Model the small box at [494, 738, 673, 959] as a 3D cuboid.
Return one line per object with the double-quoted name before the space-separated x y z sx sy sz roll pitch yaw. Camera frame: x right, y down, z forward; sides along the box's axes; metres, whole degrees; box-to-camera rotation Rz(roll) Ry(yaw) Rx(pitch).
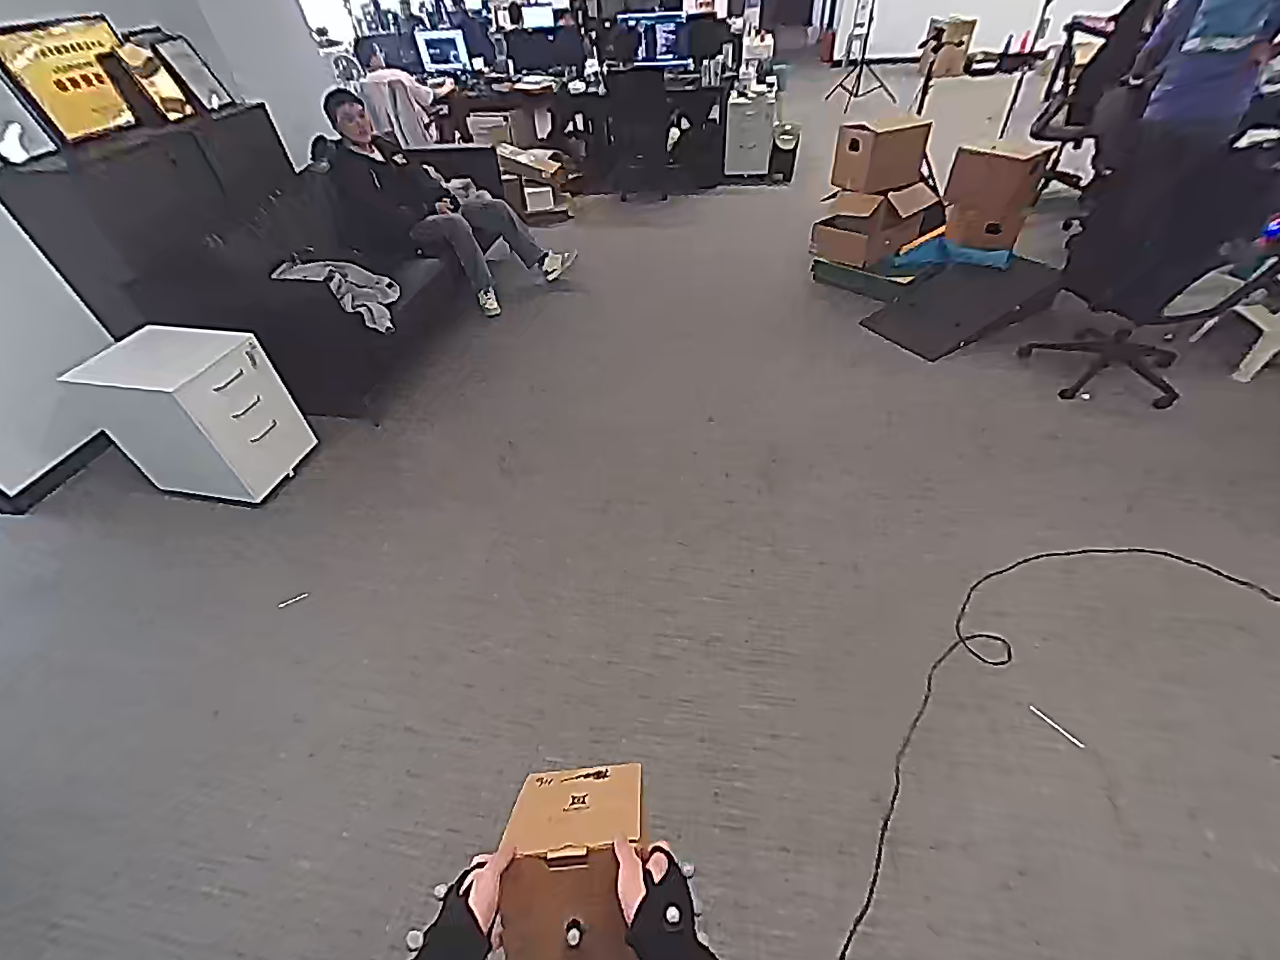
"small box" -0.076 0.475 0.708 0.179 0.176 0.168 -7 -1 -30
